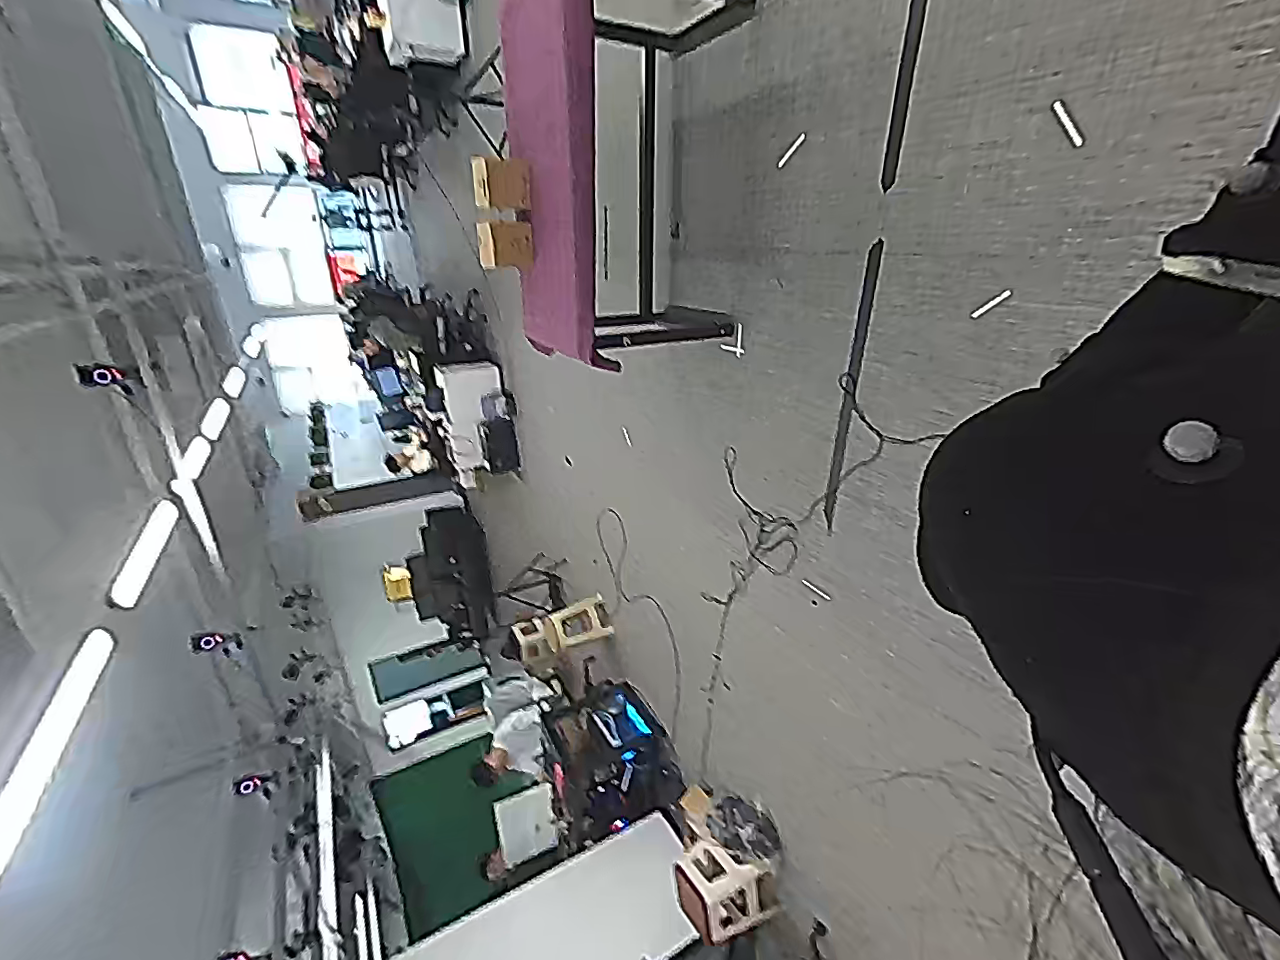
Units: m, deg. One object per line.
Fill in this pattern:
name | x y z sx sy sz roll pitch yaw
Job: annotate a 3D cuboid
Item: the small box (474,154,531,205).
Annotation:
small box | -0.525 -1.155 2.079 0.179 0.176 0.168 40 135 49
